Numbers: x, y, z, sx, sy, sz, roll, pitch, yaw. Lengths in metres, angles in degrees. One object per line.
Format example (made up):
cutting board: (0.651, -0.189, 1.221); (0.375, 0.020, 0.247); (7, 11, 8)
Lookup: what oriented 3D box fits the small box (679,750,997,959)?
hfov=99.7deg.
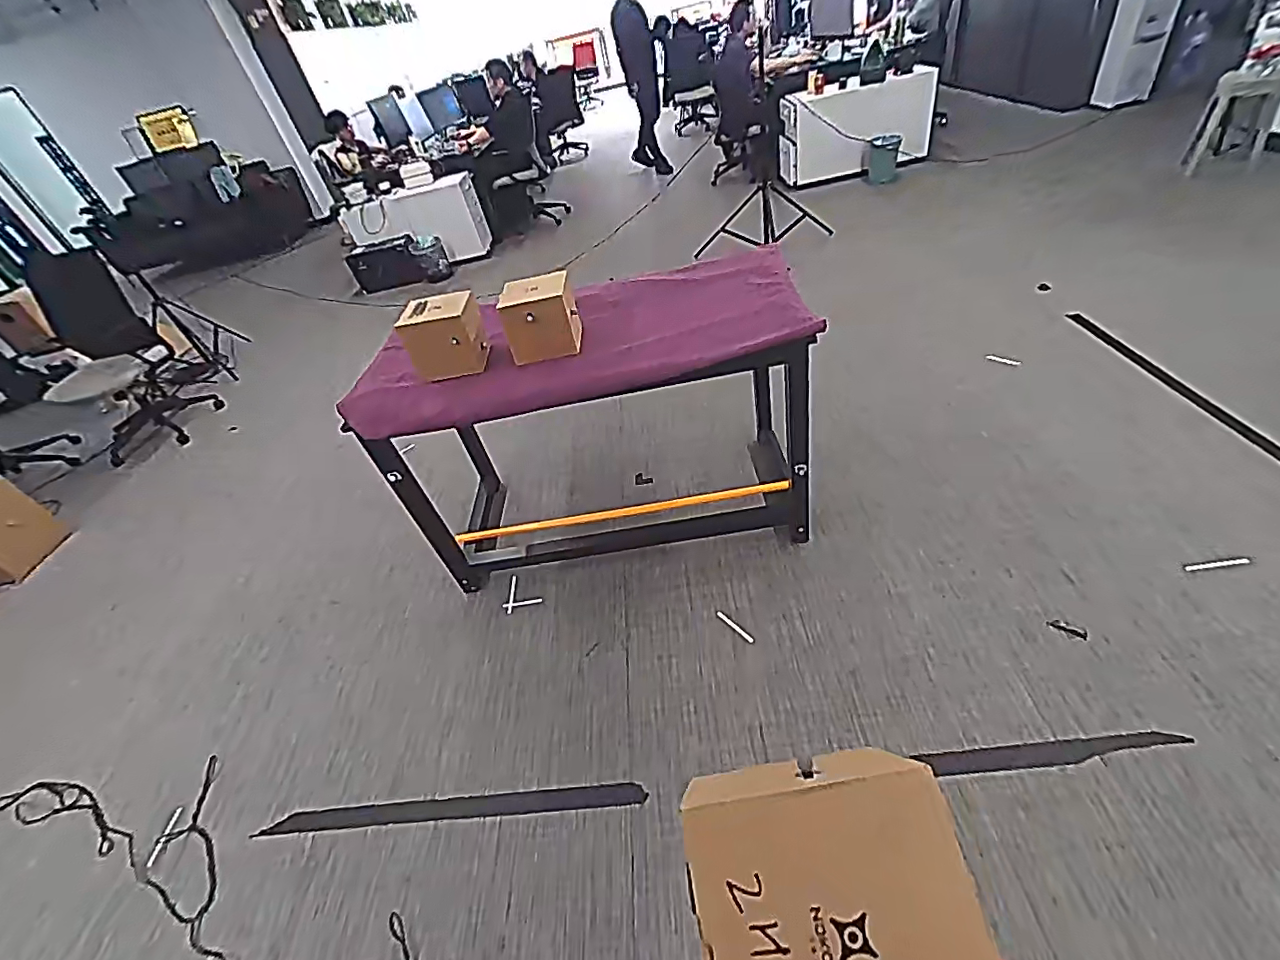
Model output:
small box: (0.134, 0.310, 0.407); (0.179, 0.176, 0.168); (-13, 66, 5)

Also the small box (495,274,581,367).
small box: (-0.265, -0.427, 1.453); (0.179, 0.176, 0.168); (-10, 41, 6)
